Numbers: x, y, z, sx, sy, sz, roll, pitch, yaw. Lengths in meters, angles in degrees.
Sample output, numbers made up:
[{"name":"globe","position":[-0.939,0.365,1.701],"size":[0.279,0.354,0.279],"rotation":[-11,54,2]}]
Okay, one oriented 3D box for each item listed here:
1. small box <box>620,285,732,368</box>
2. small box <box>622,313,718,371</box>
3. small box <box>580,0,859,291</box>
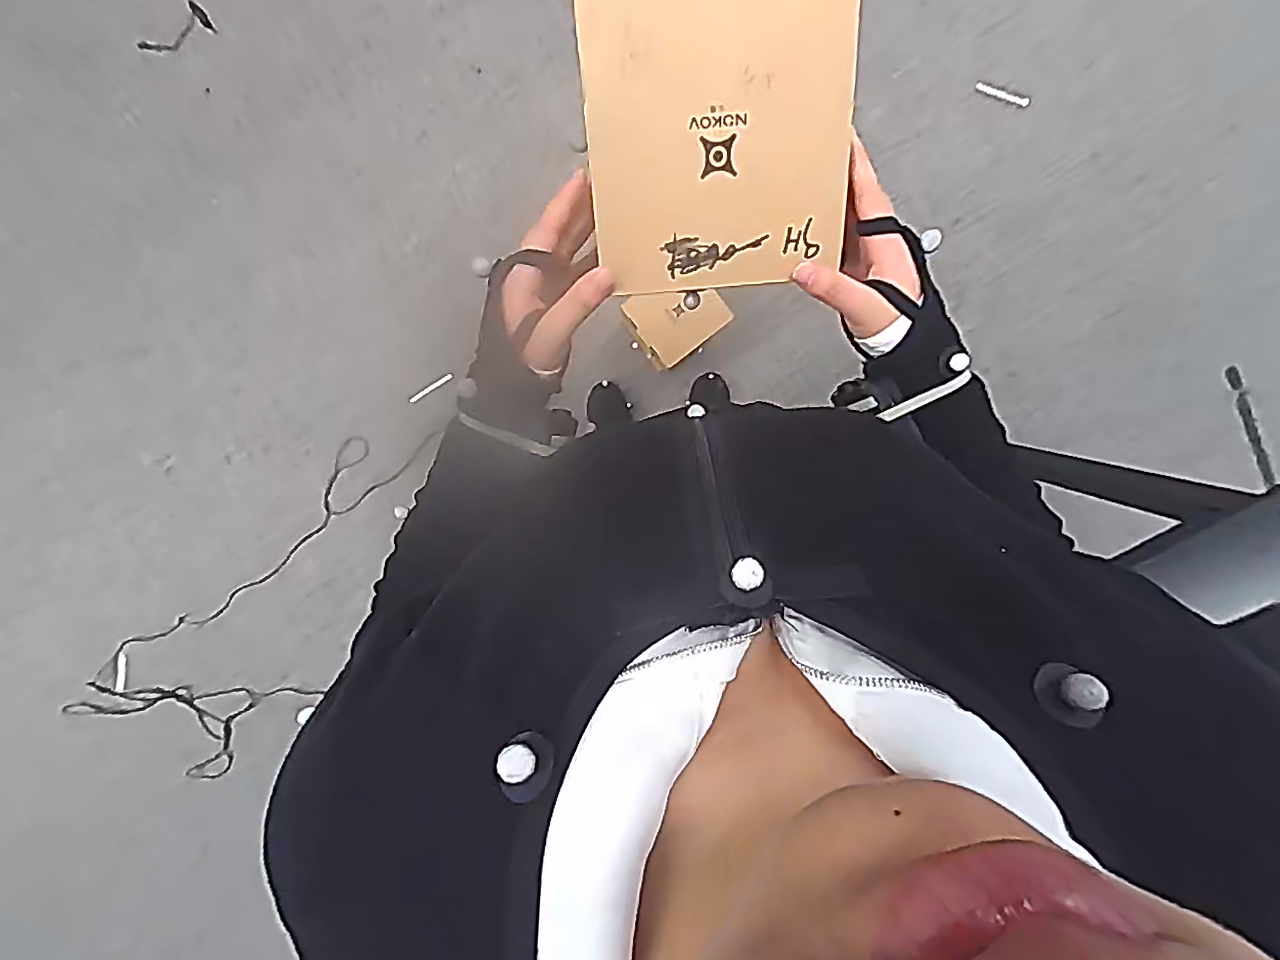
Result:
[{"name":"small box","position":[0.074,-0.362,1.186],"size":[0.179,0.176,0.168],"rotation":[-38,100,6]},{"name":"small box","position":[0.070,-0.389,1.346],"size":[0.179,0.176,0.168],"rotation":[-35,99,7]},{"name":"small box","position":[0.046,-0.243,0.409],"size":[0.168,0.176,0.179],"rotation":[-5,113,0]}]
